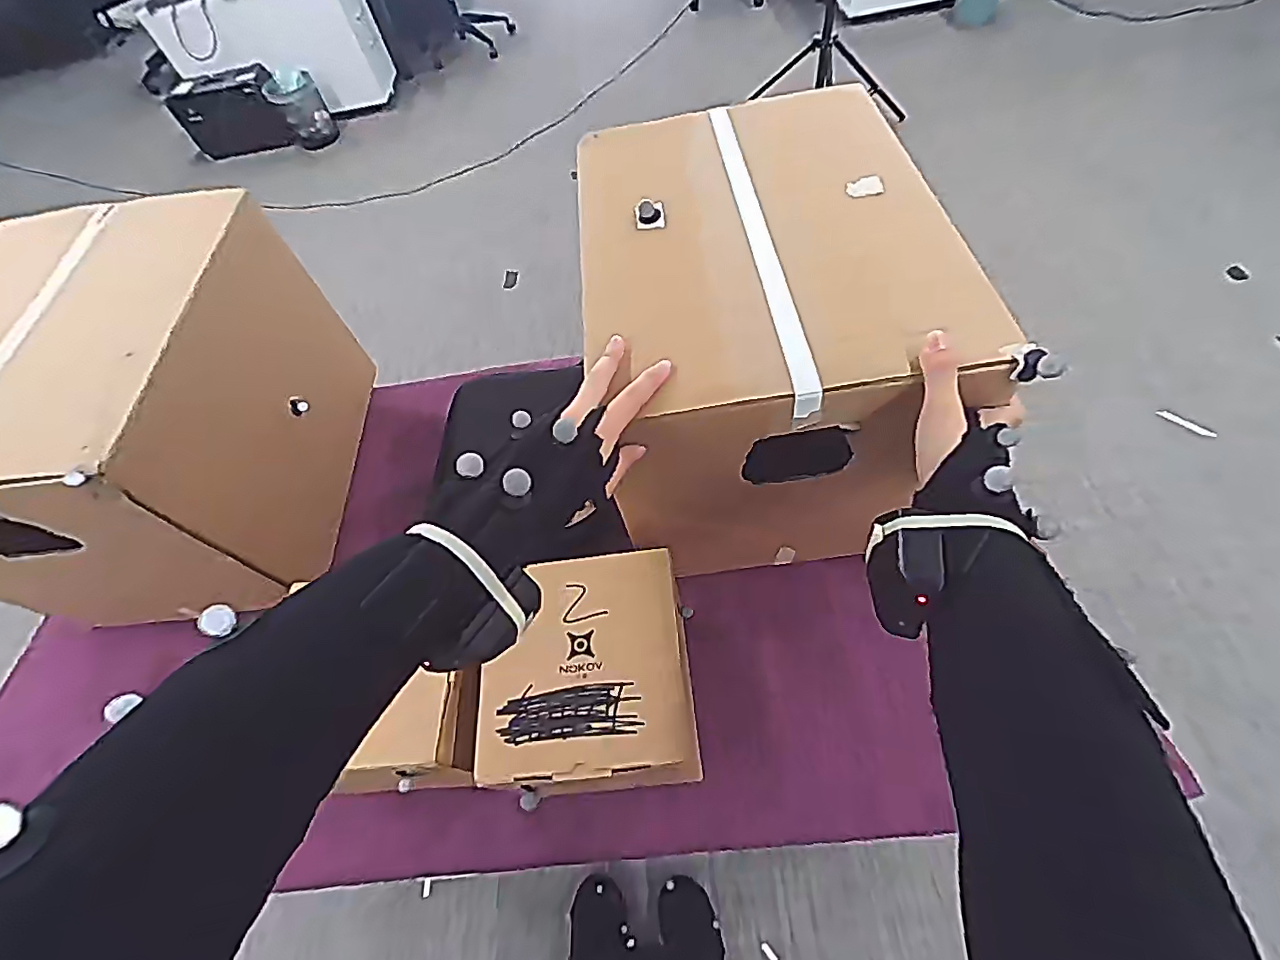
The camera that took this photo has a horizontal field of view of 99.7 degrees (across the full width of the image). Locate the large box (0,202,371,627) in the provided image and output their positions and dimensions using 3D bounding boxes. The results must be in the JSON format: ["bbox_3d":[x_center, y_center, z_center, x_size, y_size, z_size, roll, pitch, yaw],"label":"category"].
[{"bbox_3d":[-0.580,-0.069,0.671,0.320,0.320,0.408,-8,60,2],"label":"large box"}]
